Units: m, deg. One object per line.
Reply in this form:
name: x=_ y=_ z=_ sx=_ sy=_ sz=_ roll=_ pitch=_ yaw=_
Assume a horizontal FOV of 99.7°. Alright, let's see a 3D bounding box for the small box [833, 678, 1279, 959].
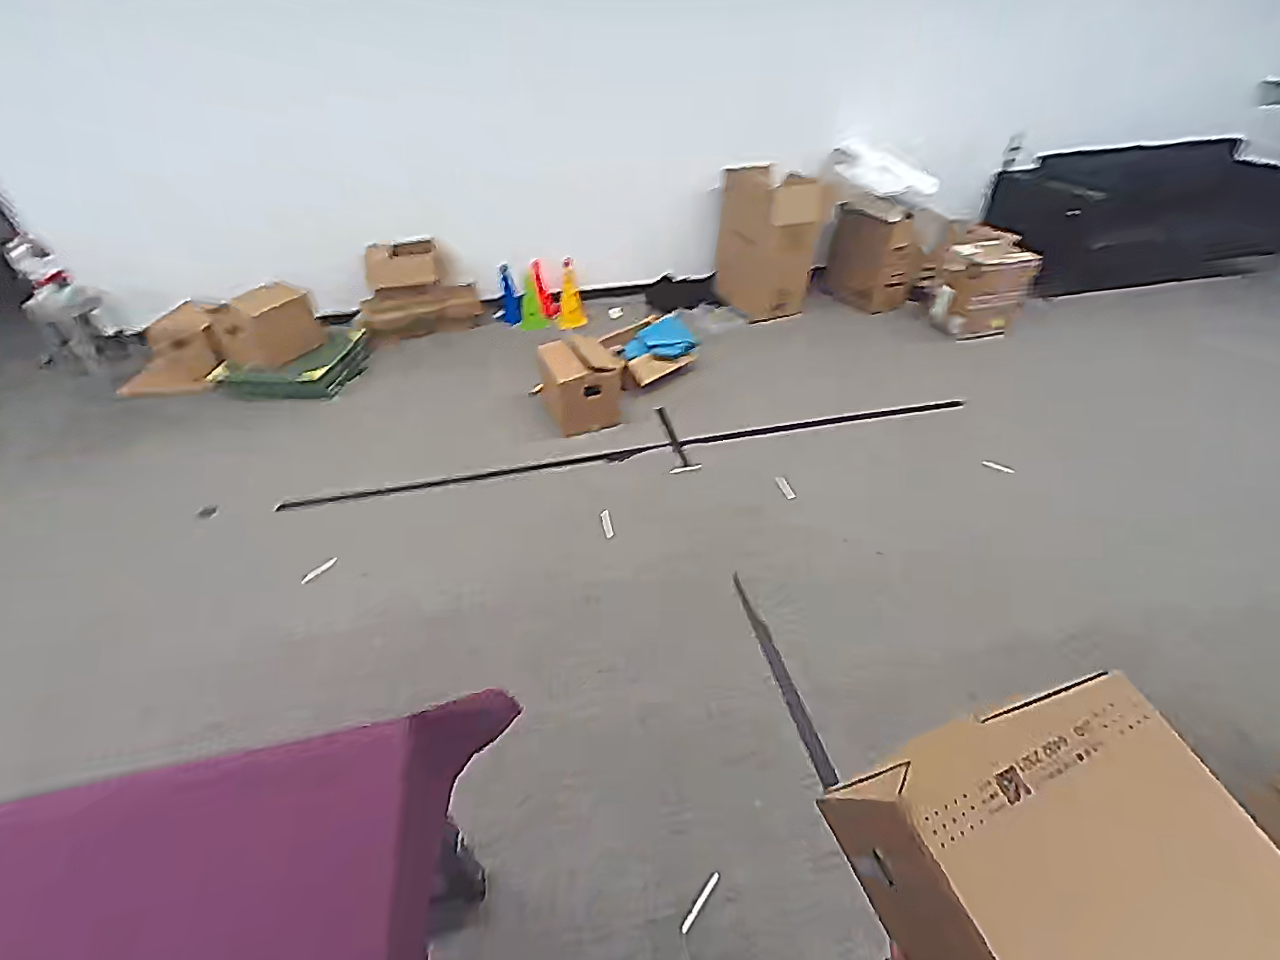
small box: x=0.249 y=0.243 z=0.337 sx=0.168 sy=0.179 sz=0.176 roll=-23 pitch=62 yaw=-10
